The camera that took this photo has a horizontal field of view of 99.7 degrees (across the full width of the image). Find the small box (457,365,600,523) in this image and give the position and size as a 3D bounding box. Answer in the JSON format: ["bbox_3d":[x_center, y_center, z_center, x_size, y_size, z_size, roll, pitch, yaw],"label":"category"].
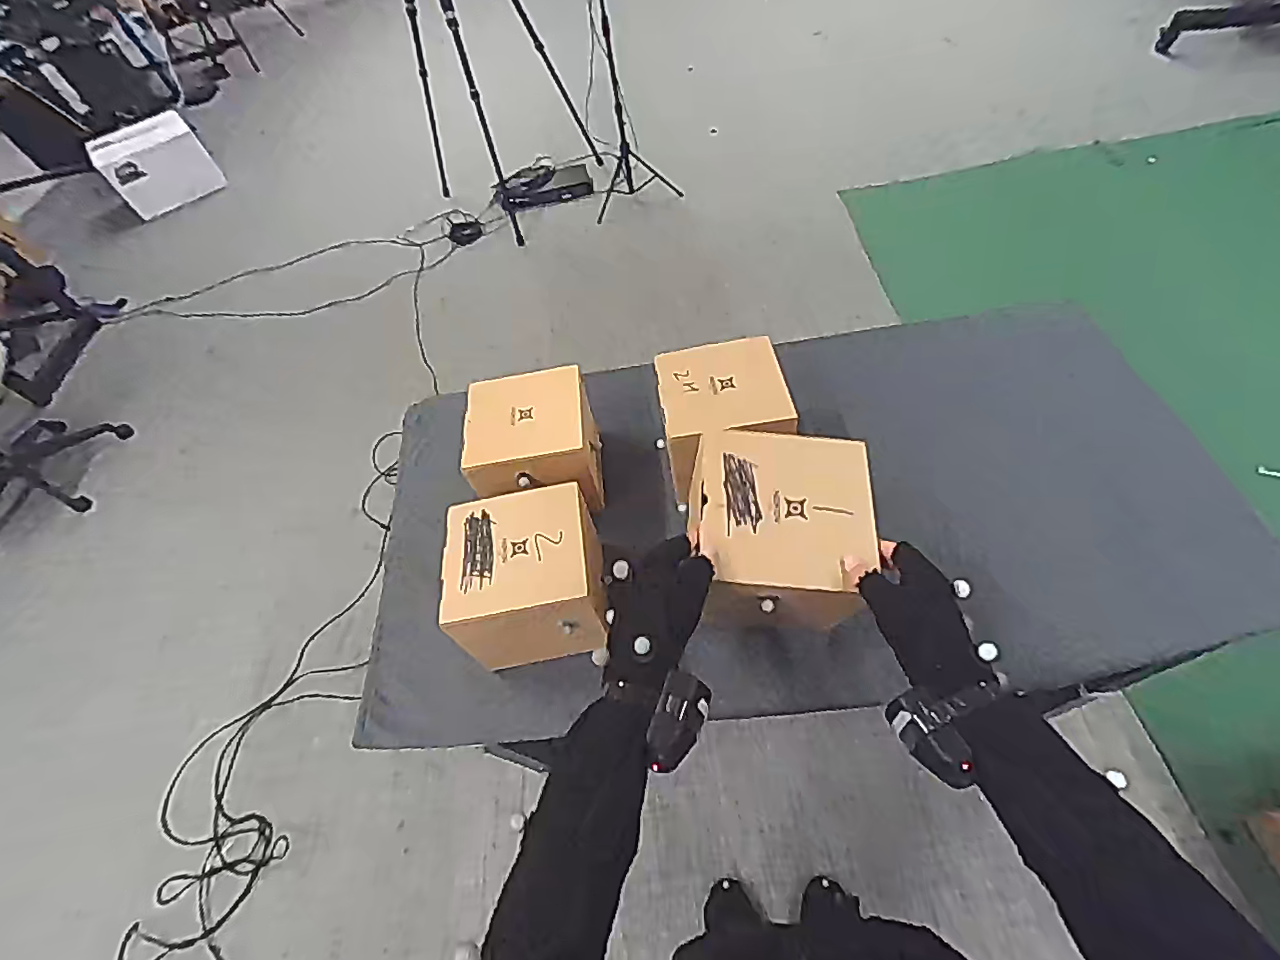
[{"bbox_3d":[-0.163,-0.050,0.846,0.179,0.176,0.168,-10,55,4],"label":"small box"}]

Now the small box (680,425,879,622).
[{"bbox_3d":[0.140,0.056,0.603,0.179,0.176,0.168,5,65,1],"label":"small box"}]
